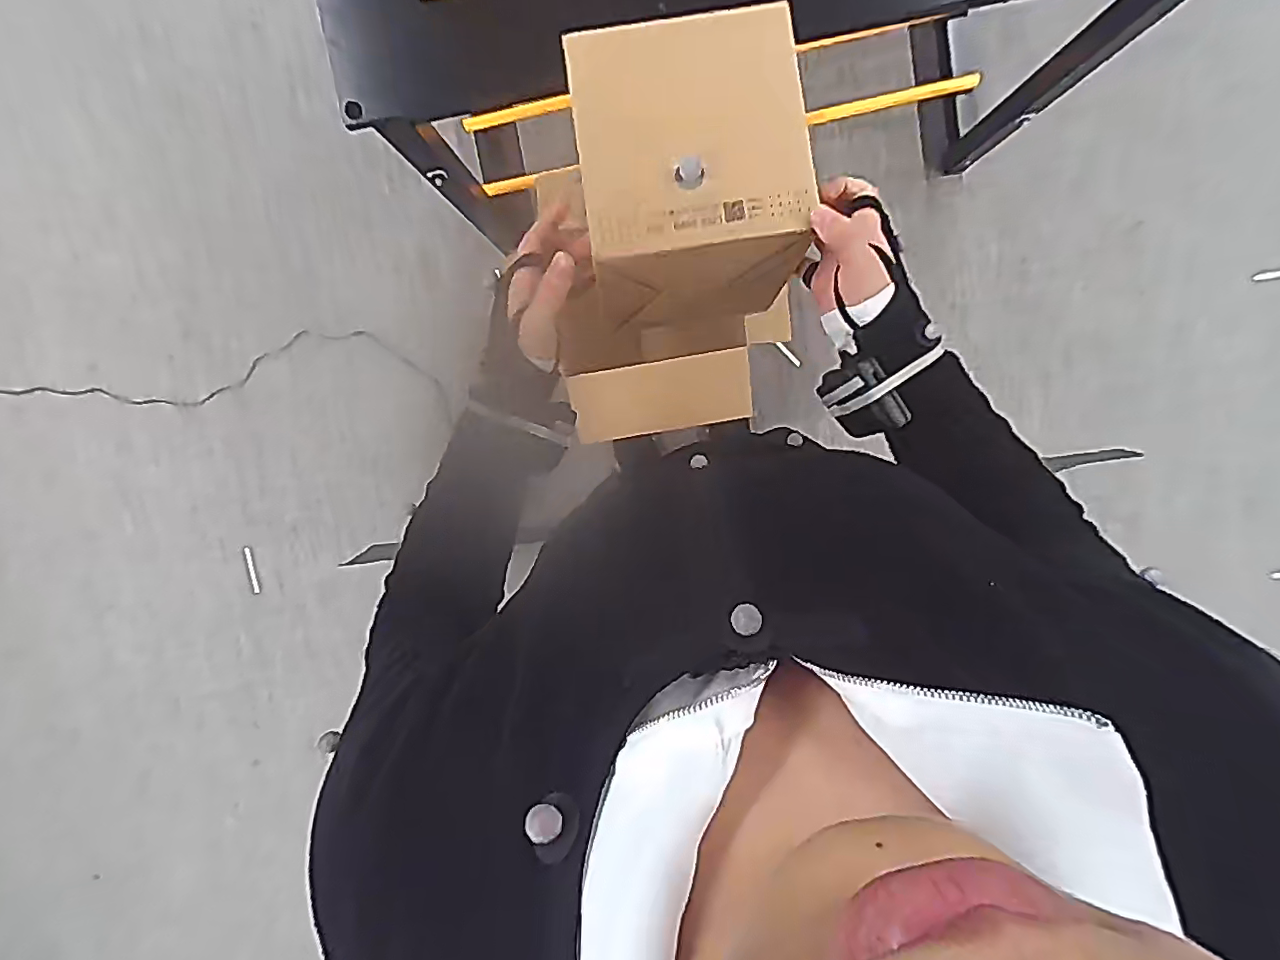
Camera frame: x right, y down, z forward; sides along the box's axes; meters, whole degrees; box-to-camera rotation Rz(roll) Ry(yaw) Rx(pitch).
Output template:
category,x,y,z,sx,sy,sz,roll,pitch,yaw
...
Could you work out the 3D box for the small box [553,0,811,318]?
category,x,y,z,sx,sy,sz,roll,pitch,yaw
small box,0.034,-0.247,0.465,0.168,0.179,0.176,-11,96,2
